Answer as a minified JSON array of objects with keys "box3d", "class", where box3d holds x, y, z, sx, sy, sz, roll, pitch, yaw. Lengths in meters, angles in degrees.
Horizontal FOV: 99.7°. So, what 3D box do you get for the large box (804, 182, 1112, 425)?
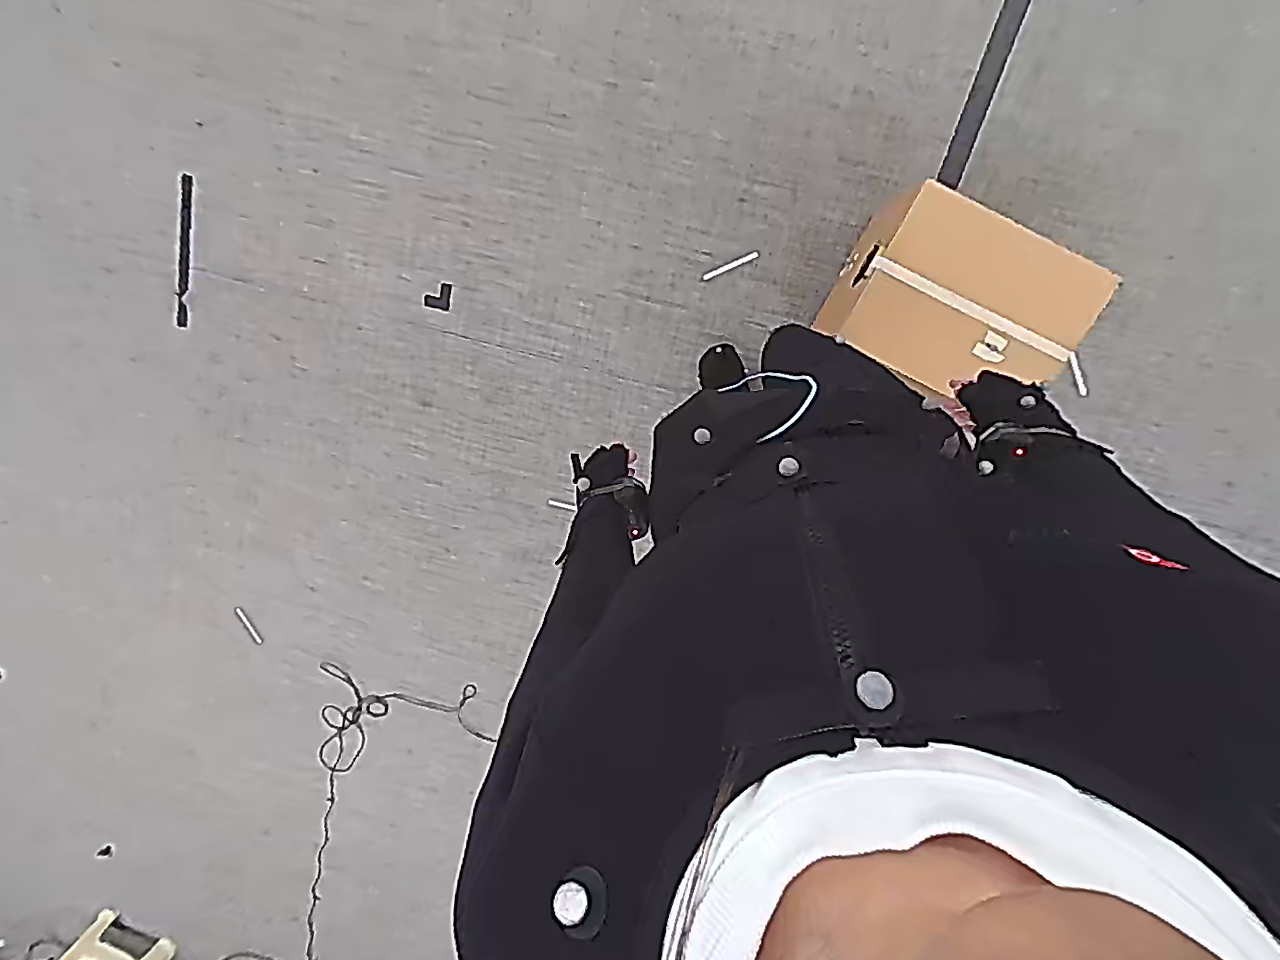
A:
[{"box3d":[0.625,-0.360,1.152,0.408,0.320,0.320,26,107,-2],"class":"large box"}]
